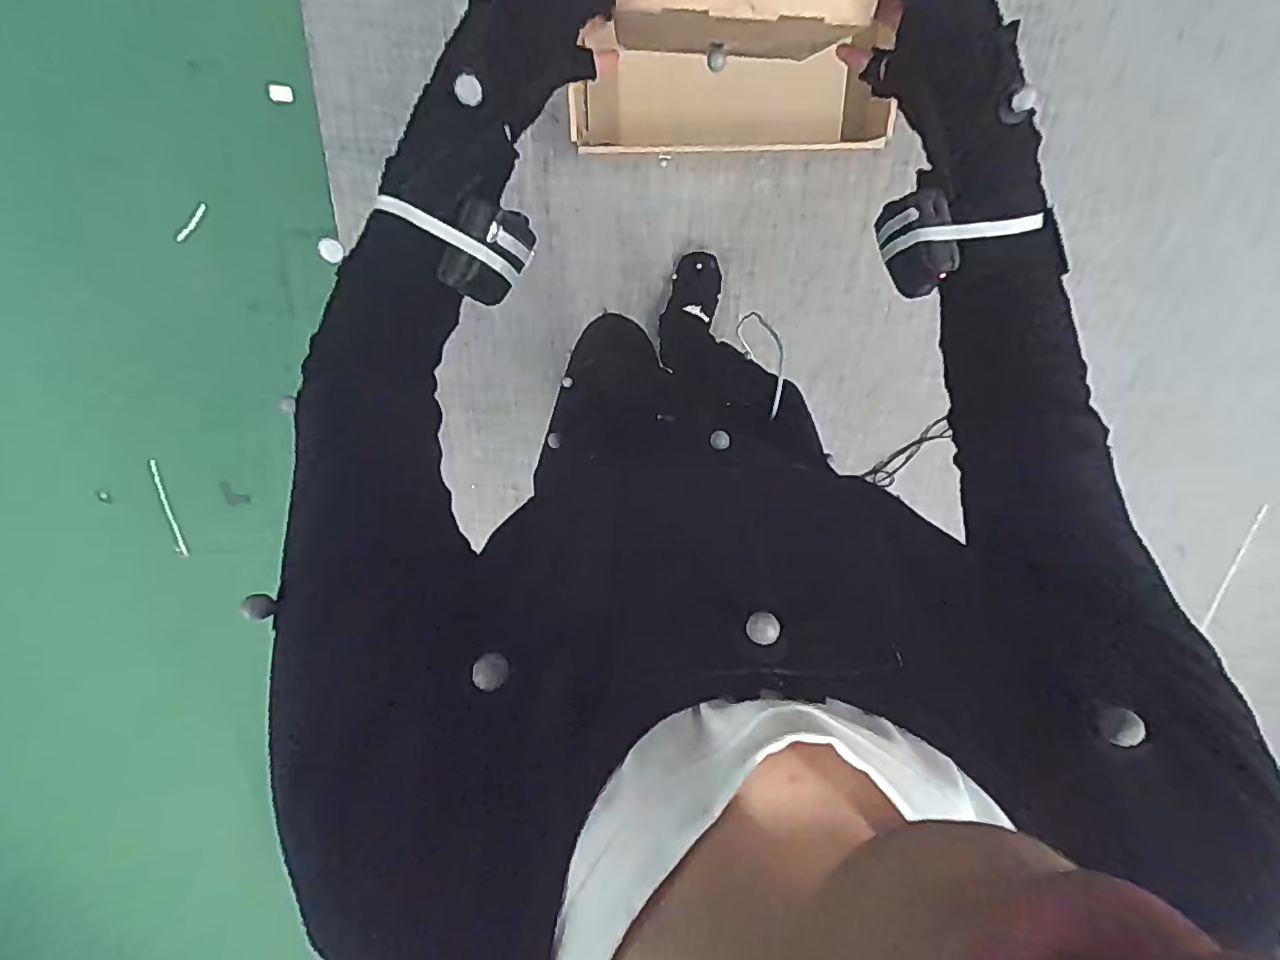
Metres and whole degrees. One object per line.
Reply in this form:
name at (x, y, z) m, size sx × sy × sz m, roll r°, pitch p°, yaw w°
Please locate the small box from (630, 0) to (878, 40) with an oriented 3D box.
small box at (0.075, -0.410, 0.343) m, size 0.168 × 0.176 × 0.179 m, roll 3°, pitch 123°, yaw -2°
